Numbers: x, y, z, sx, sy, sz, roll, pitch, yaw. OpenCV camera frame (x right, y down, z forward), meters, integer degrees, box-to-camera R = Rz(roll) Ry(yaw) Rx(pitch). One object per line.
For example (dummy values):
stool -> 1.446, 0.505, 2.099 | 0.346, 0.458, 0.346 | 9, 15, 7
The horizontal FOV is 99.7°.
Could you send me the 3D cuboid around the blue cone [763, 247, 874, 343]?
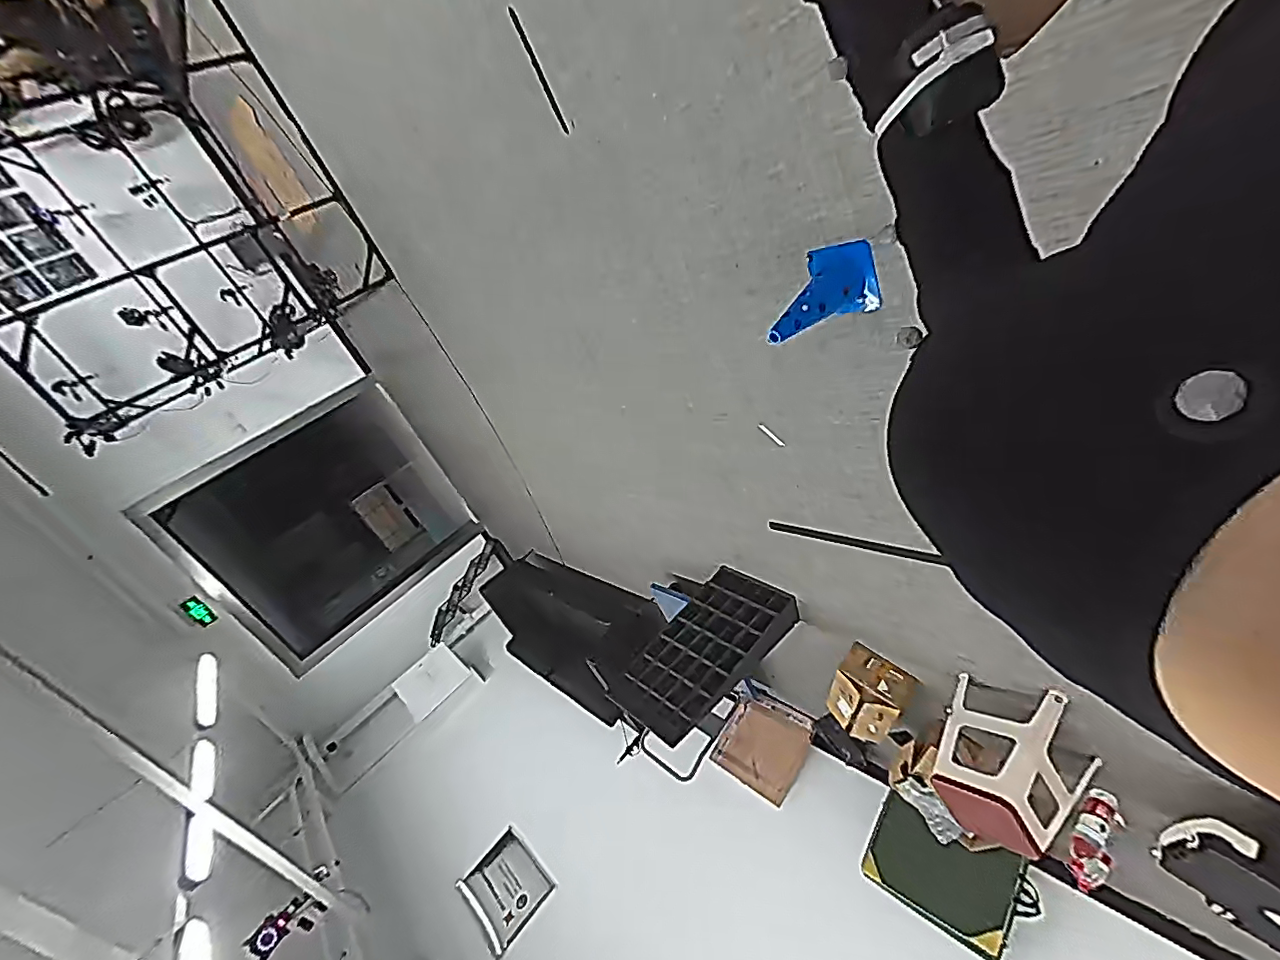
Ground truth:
blue cone -> 0.474, -0.484, 1.505 | 0.192, 0.380, 0.193 | 14, 137, 50
